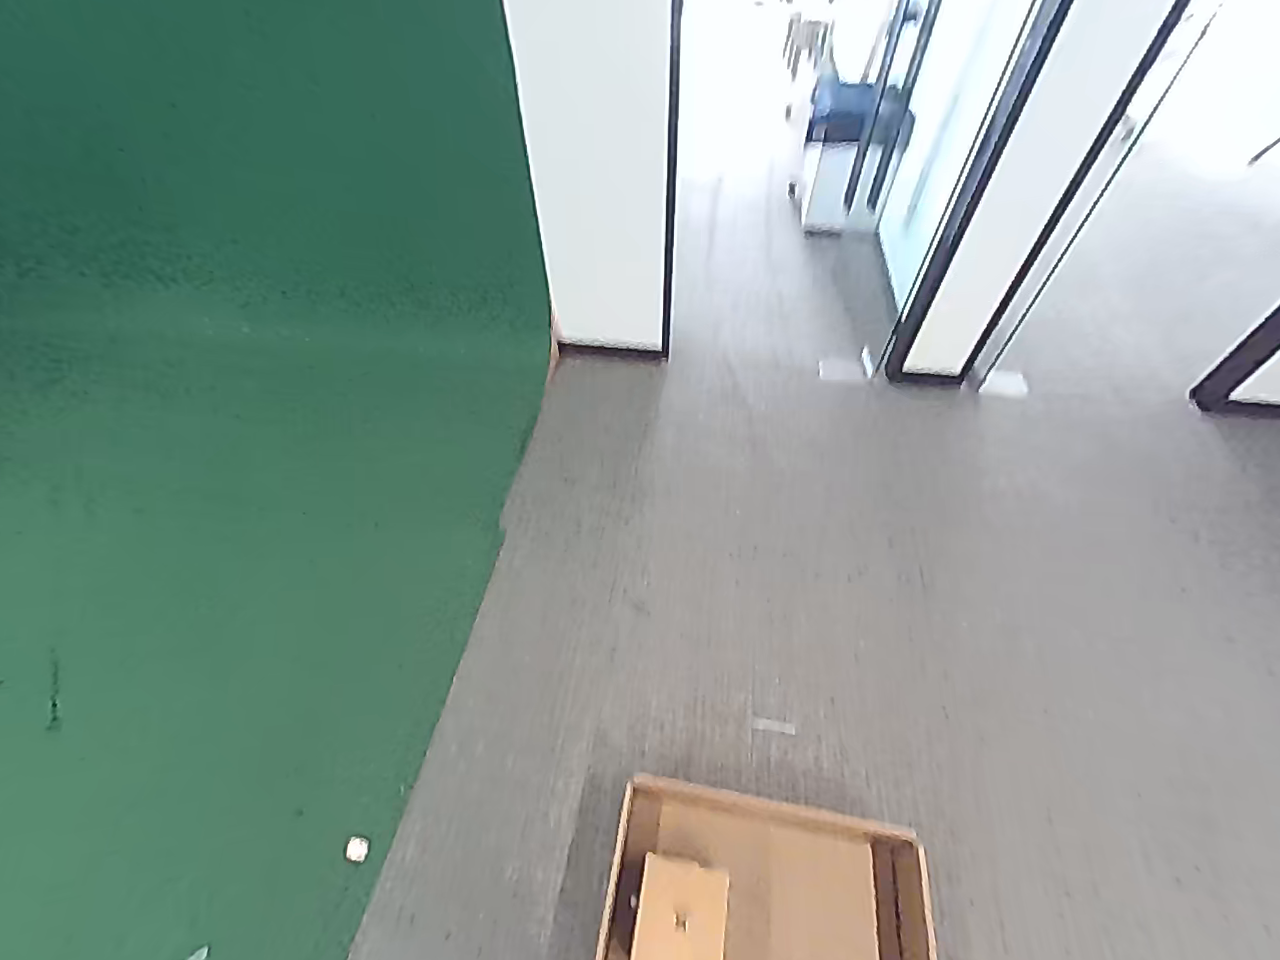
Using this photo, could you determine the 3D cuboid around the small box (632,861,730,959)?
[{"bbox_3d":[0.079,0.875,1.057,0.168,0.176,0.179,8,50,7],"label":"small box"}]
